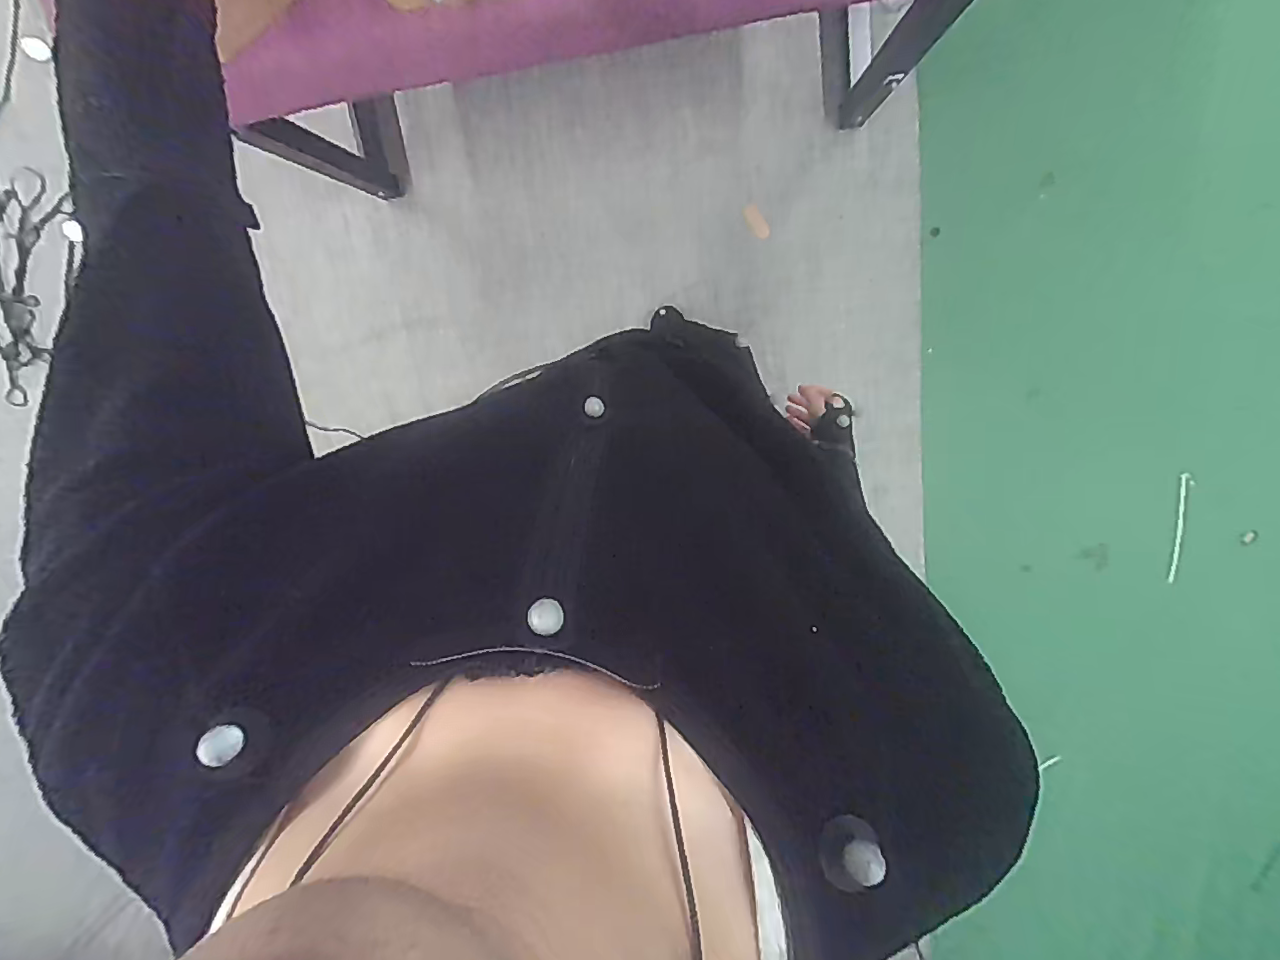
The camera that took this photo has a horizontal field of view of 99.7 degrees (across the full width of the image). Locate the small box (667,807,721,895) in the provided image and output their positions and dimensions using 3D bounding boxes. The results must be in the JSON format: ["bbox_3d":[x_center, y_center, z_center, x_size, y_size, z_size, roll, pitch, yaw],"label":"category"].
[{"bbox_3d":[0.172,1.187,1.742,0.168,0.176,0.179,-2,105,5],"label":"small box"}]

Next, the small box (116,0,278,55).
[{"bbox_3d":[-0.498,-0.593,0.549,0.179,0.176,0.168,-30,101,11],"label":"small box"}]
